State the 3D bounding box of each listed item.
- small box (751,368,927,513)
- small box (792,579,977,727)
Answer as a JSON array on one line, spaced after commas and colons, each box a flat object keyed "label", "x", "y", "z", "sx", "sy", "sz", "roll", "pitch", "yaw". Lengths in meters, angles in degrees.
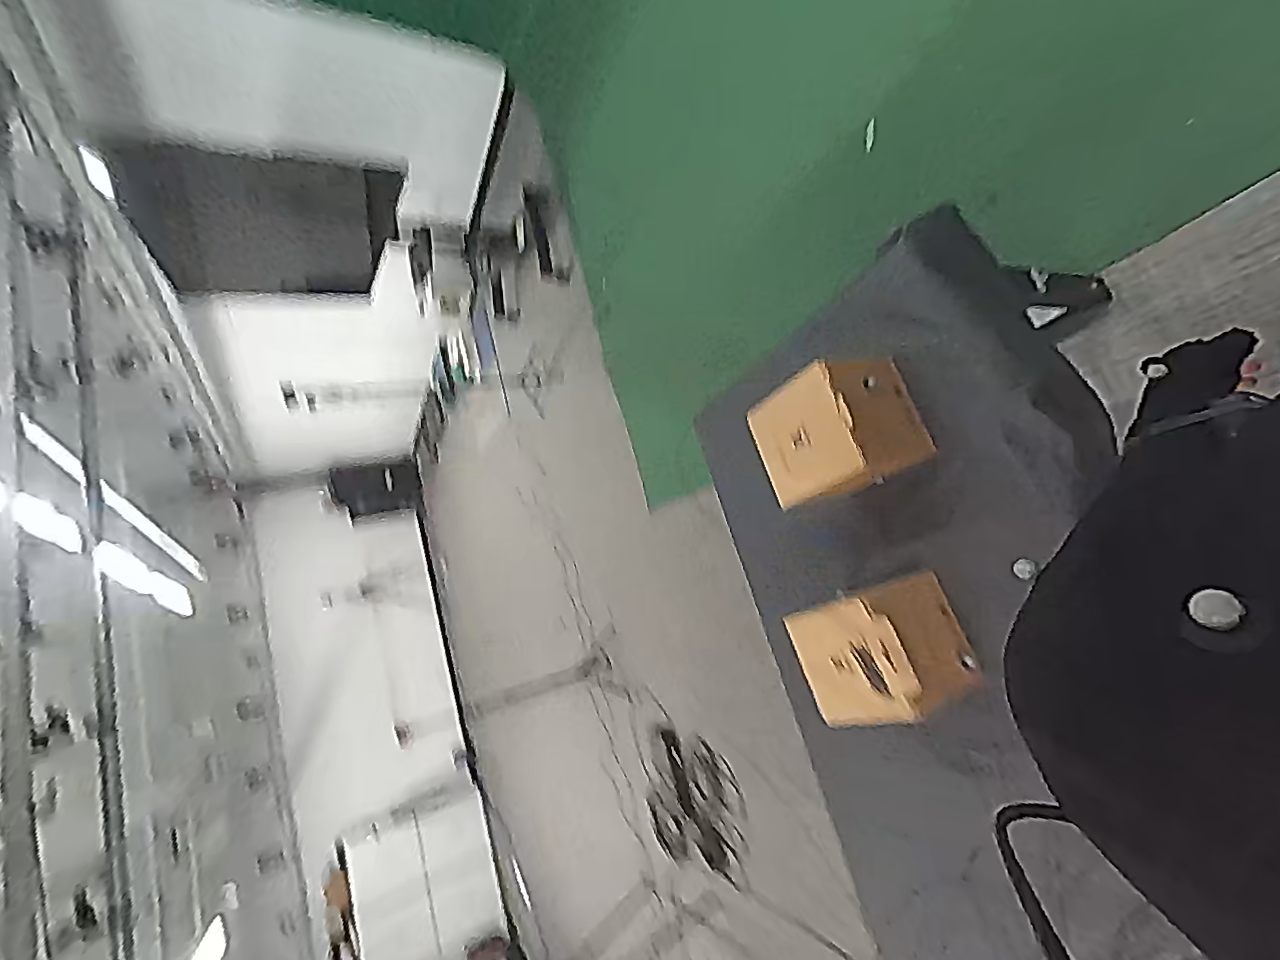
[{"label": "small box", "x": 0.314, "y": -0.064, "z": 0.850, "sx": 0.179, "sy": 0.176, "sz": 0.168, "roll": -44, "pitch": 60, "yaw": 56}, {"label": "small box", "x": 0.377, "y": 0.264, "z": 0.833, "sx": 0.179, "sy": 0.176, "sz": 0.168, "roll": -46, "pitch": 59, "yaw": 55}]
